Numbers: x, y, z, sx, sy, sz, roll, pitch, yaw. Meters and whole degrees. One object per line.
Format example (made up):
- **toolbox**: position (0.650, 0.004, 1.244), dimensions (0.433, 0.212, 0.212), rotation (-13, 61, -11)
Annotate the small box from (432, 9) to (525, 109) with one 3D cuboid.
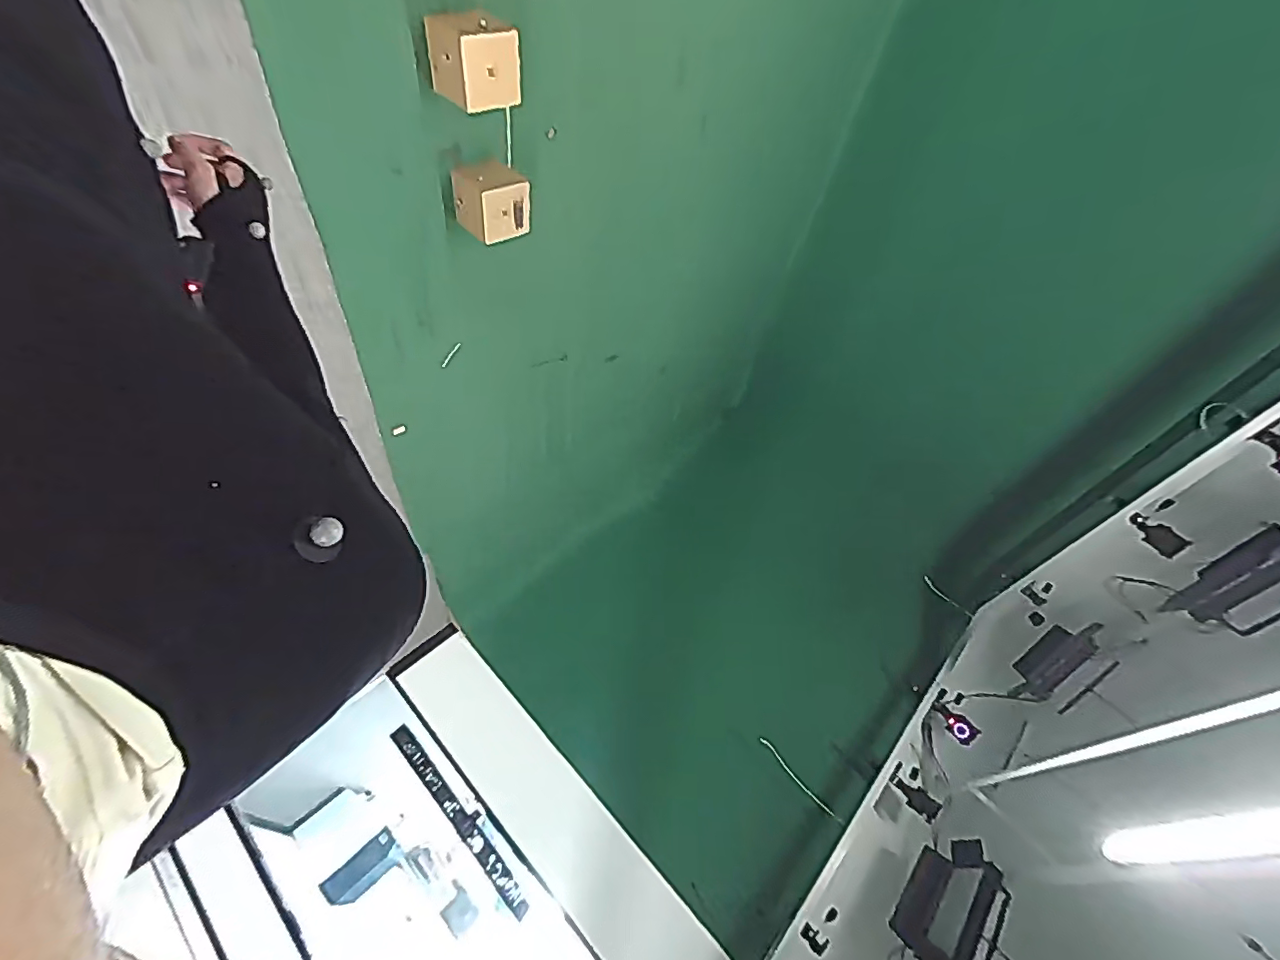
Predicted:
- **small box**: position (-0.426, -1.109, 1.423), dimensions (0.179, 0.176, 0.168), rotation (-36, 155, -30)
